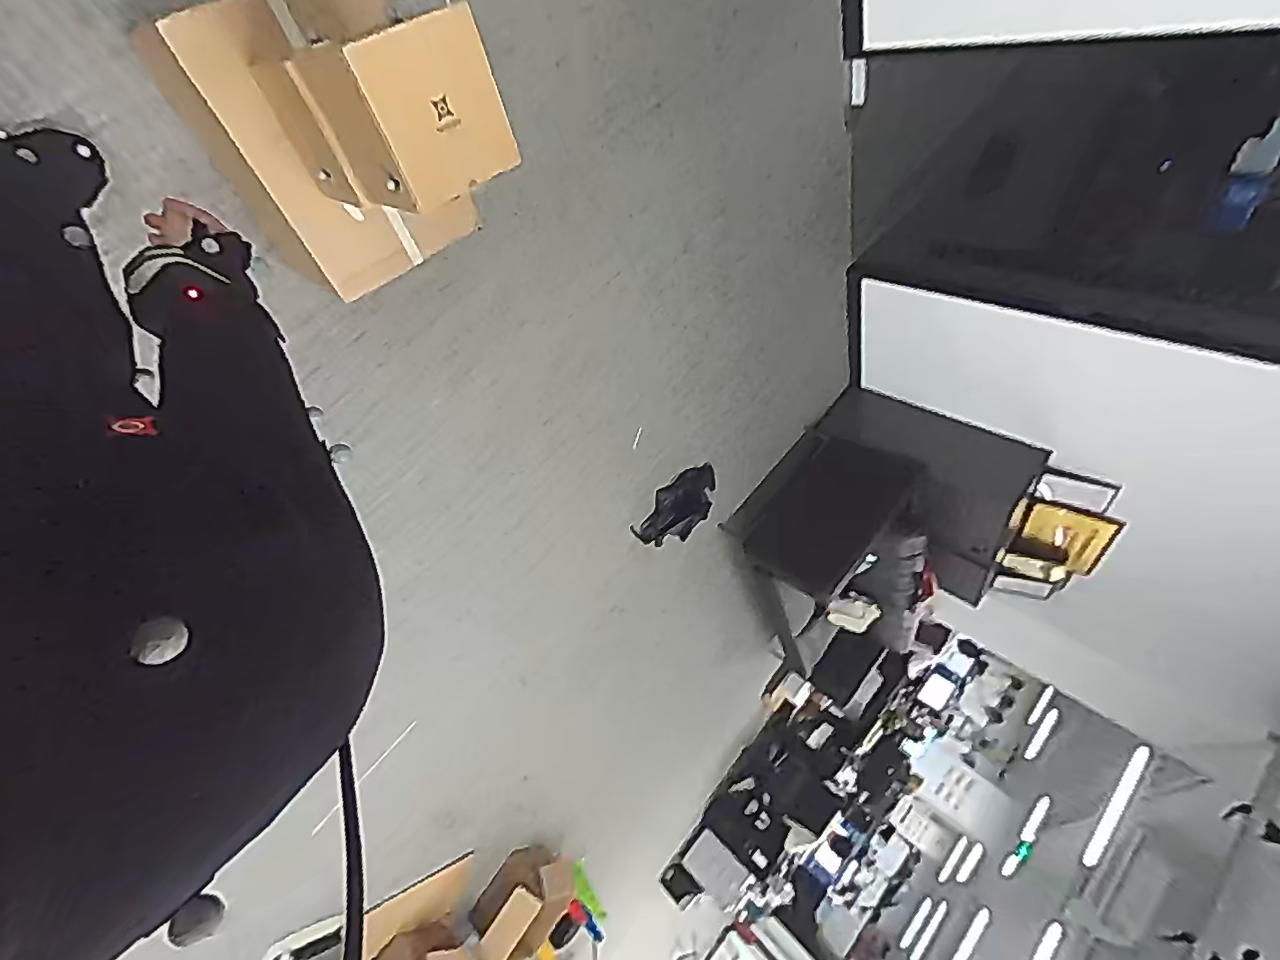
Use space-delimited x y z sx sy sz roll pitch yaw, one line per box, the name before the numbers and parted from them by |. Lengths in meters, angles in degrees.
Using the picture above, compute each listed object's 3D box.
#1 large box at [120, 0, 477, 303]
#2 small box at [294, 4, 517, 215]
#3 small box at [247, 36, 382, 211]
large box | -0.575 -0.601 0.963 0.320 0.320 0.408 -42 142 -21
small box | -0.297 -0.470 0.695 0.168 0.176 0.179 -44 142 -22
small box | -0.419 -0.523 0.789 0.168 0.176 0.179 -43 140 -23
